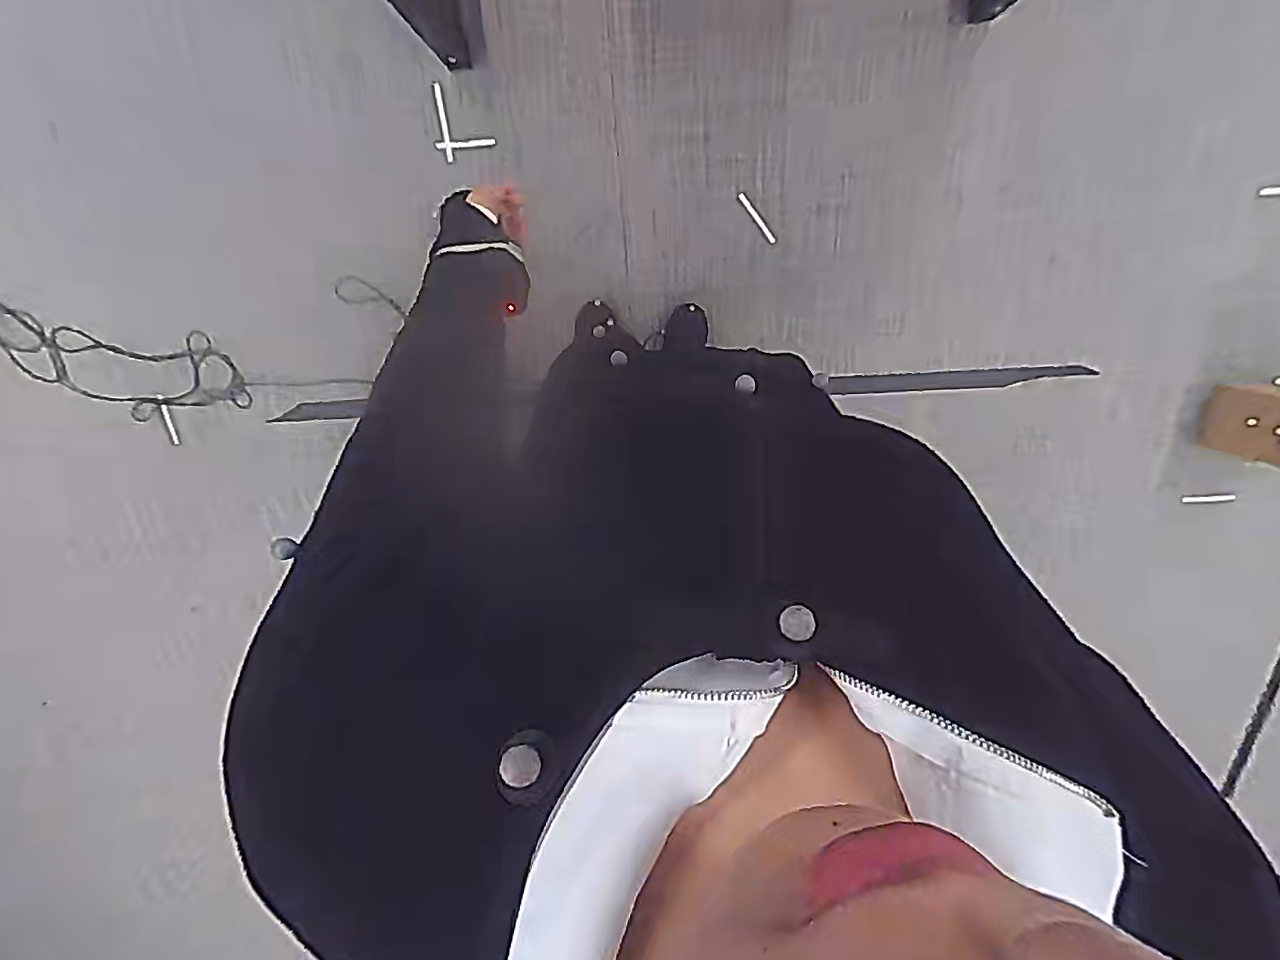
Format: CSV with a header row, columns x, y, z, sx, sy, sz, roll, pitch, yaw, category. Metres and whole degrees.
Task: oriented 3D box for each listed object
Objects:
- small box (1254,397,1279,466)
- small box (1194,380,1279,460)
x,y,z,sx,sy,sz,roll,pitch,yaw,category
1.622,-0.109,1.255,0.179,0.176,0.168,-5,109,3,small box
1.620,-0.162,1.408,0.168,0.176,0.179,-1,112,0,small box
